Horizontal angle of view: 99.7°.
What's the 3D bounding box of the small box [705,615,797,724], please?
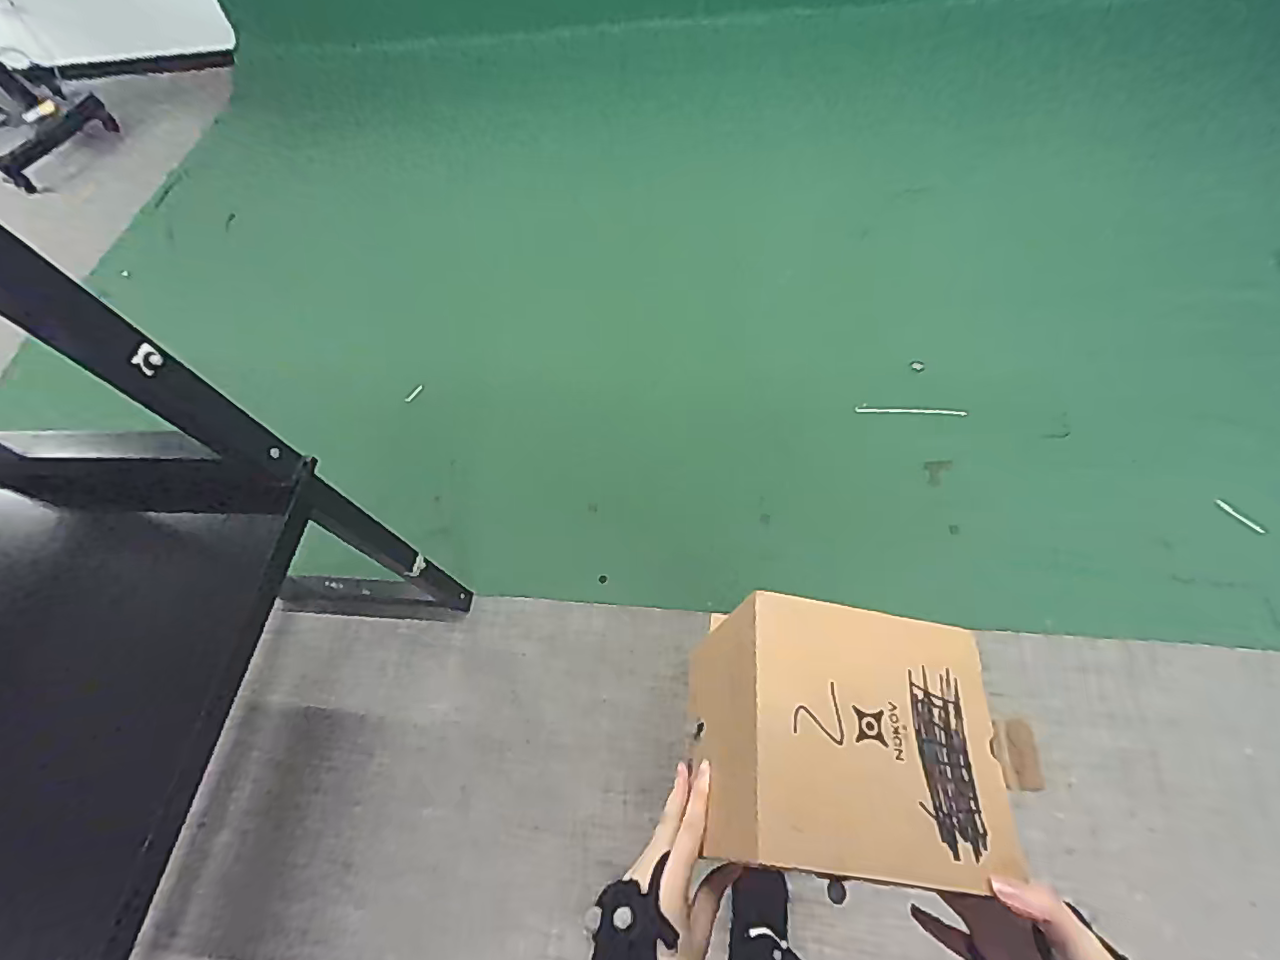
[{"bbox_3d":[0.221,0.389,1.095,0.168,0.176,0.179,4,62,8],"label":"small box"}]
